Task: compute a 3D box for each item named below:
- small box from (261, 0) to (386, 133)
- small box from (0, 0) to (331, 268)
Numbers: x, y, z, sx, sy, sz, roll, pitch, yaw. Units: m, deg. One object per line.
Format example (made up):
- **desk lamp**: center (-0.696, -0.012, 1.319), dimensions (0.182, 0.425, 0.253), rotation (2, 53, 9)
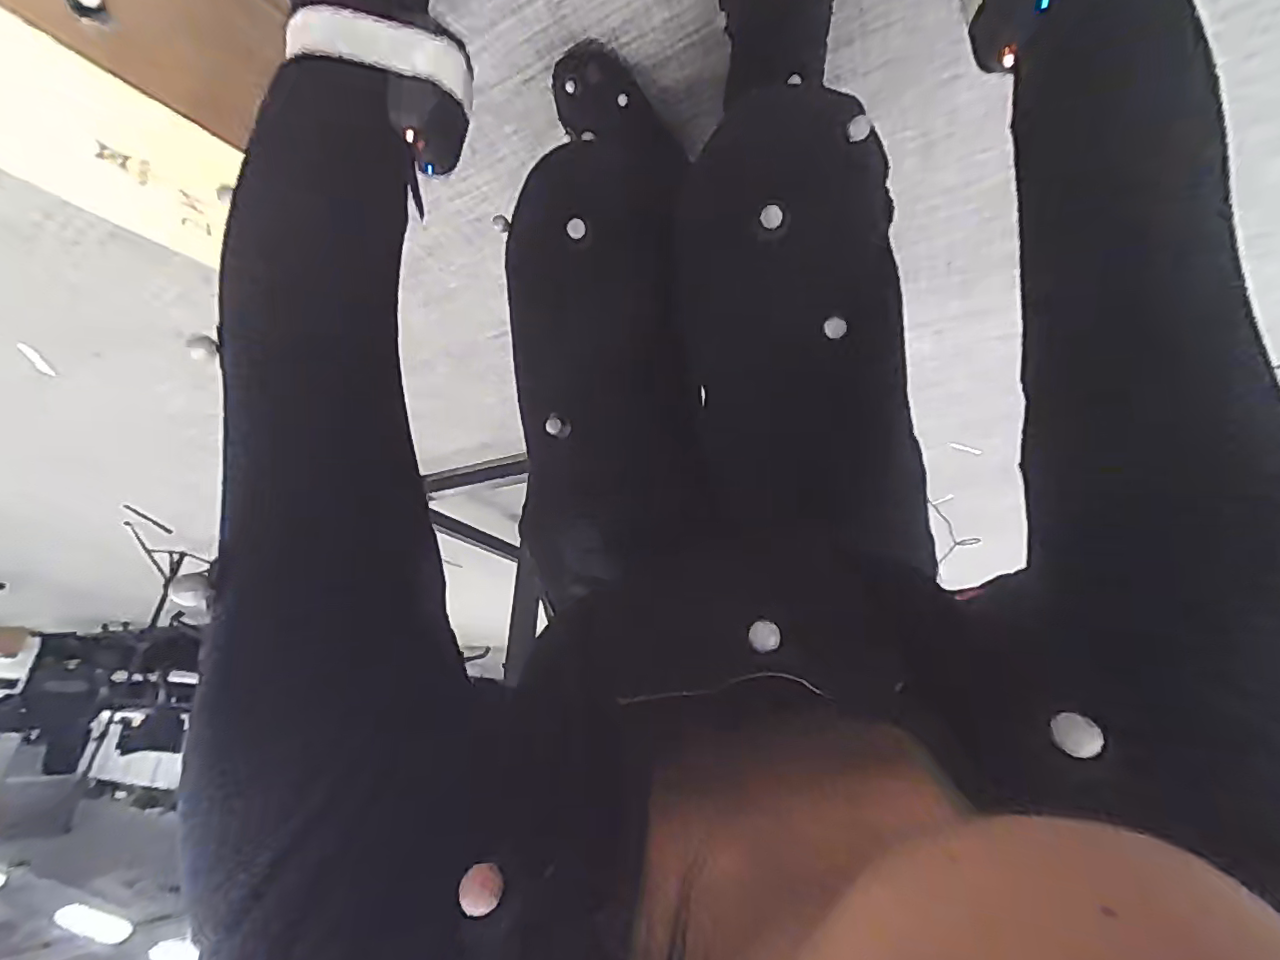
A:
- **small box**: center (-0.392, -0.481, 0.546), dimensions (0.168, 0.176, 0.179), rotation (-10, 153, 26)
- **small box**: center (-0.407, -0.334, 0.473), dimensions (0.168, 0.176, 0.179), rotation (-16, 152, 38)
